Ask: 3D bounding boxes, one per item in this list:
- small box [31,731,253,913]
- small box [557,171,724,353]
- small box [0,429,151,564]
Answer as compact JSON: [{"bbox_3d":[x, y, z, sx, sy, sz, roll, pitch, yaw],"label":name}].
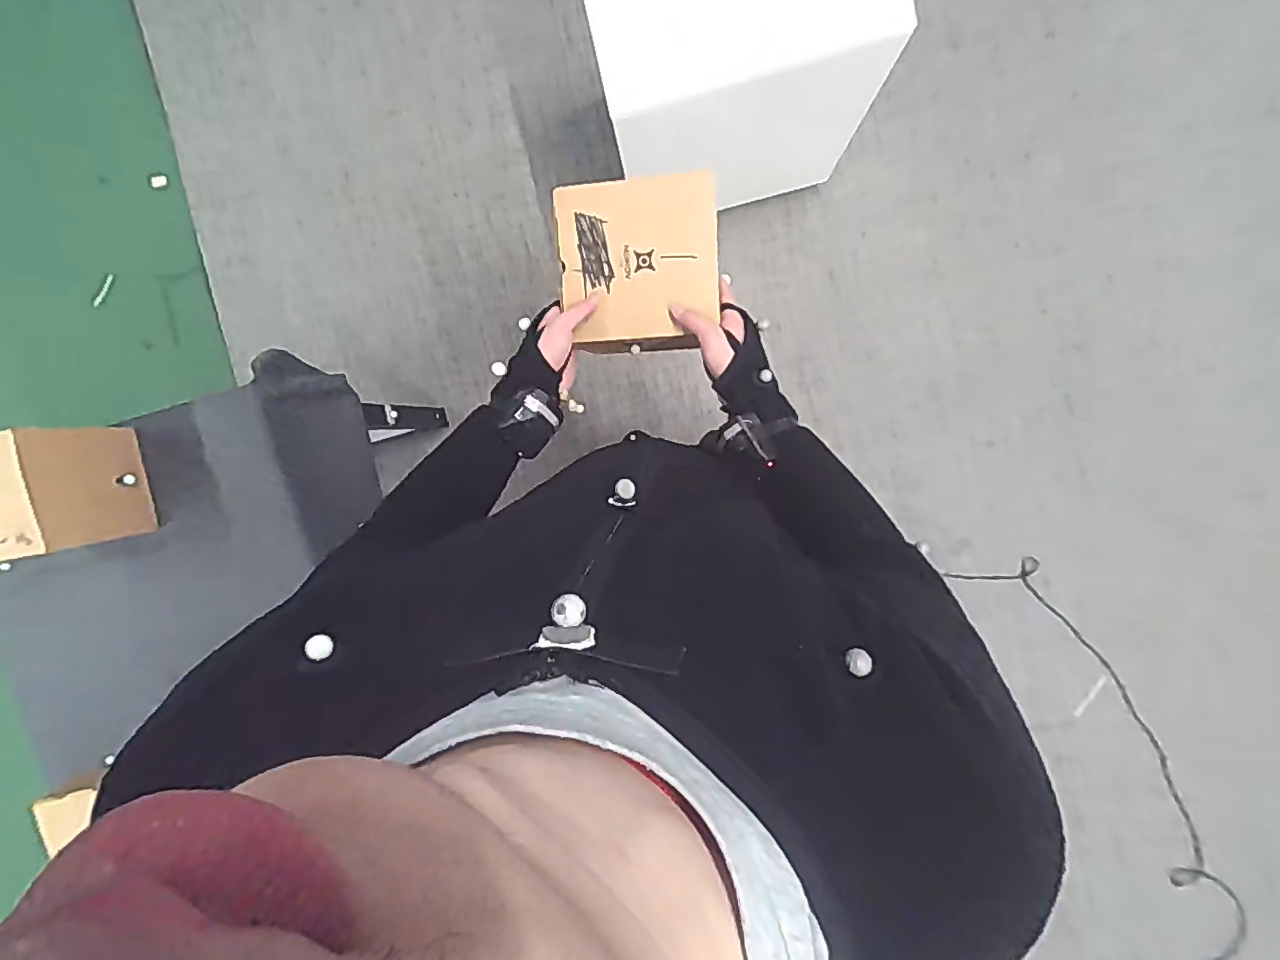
[{"bbox_3d":[-0.769,0.524,0.855,0.168,0.176,0.179,-14,96,6],"label":"small box"},{"bbox_3d":[0.010,-0.246,0.653,0.179,0.176,0.168,-2,99,6],"label":"small box"},{"bbox_3d":[-0.895,0.024,0.804,0.168,0.176,0.179,-10,95,5],"label":"small box"}]
